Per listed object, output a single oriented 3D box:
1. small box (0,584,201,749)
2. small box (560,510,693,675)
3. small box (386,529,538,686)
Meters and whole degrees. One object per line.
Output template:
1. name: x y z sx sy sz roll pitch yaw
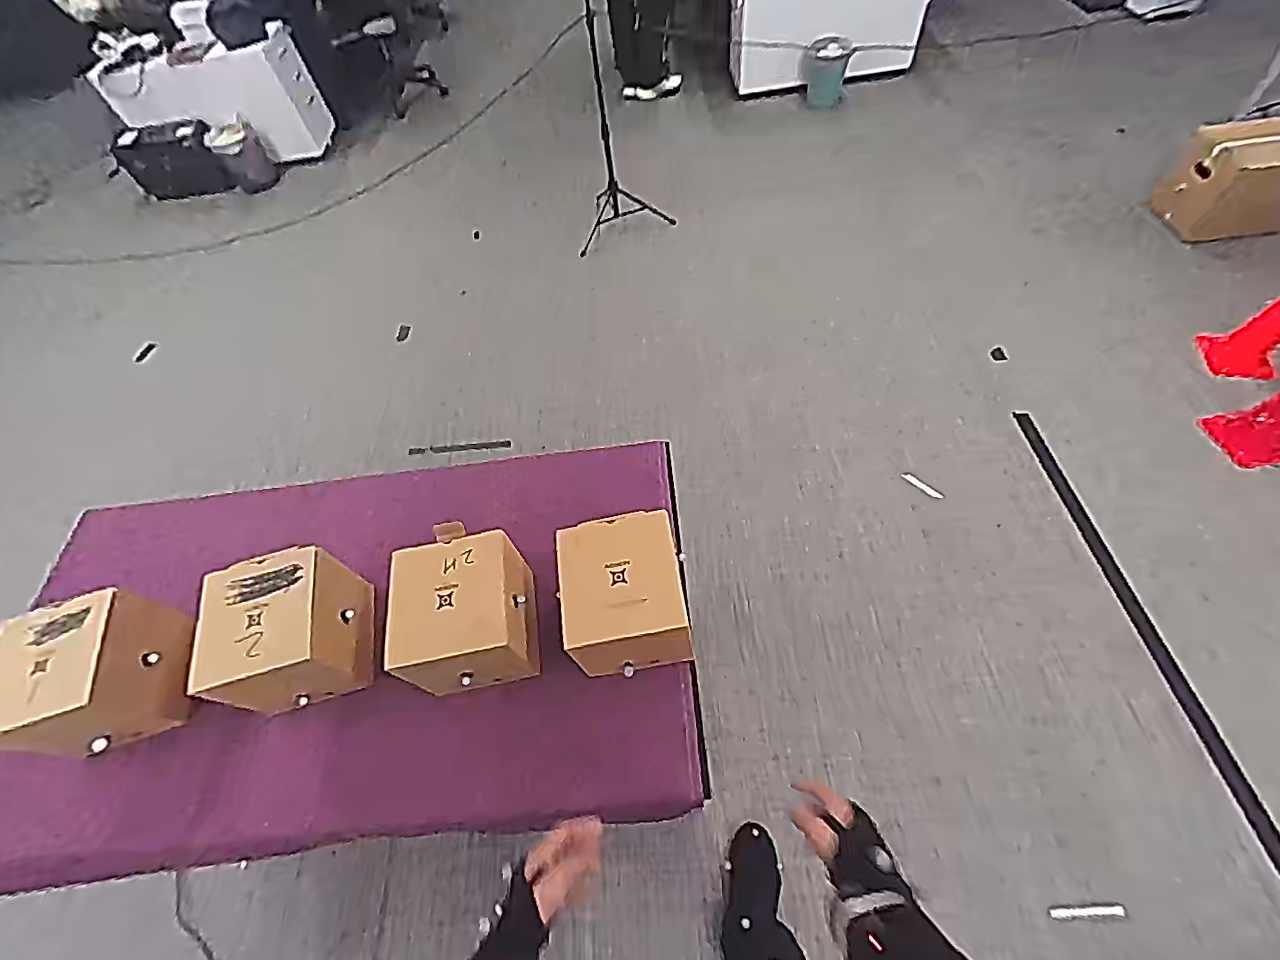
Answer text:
1. small box: -0.822 0.288 0.825 0.168 0.176 0.179 -17 58 -4
2. small box: -0.018 0.171 0.802 0.168 0.176 0.179 -10 56 2
3. small box: -0.256 0.200 0.813 0.168 0.176 0.179 -11 56 0
